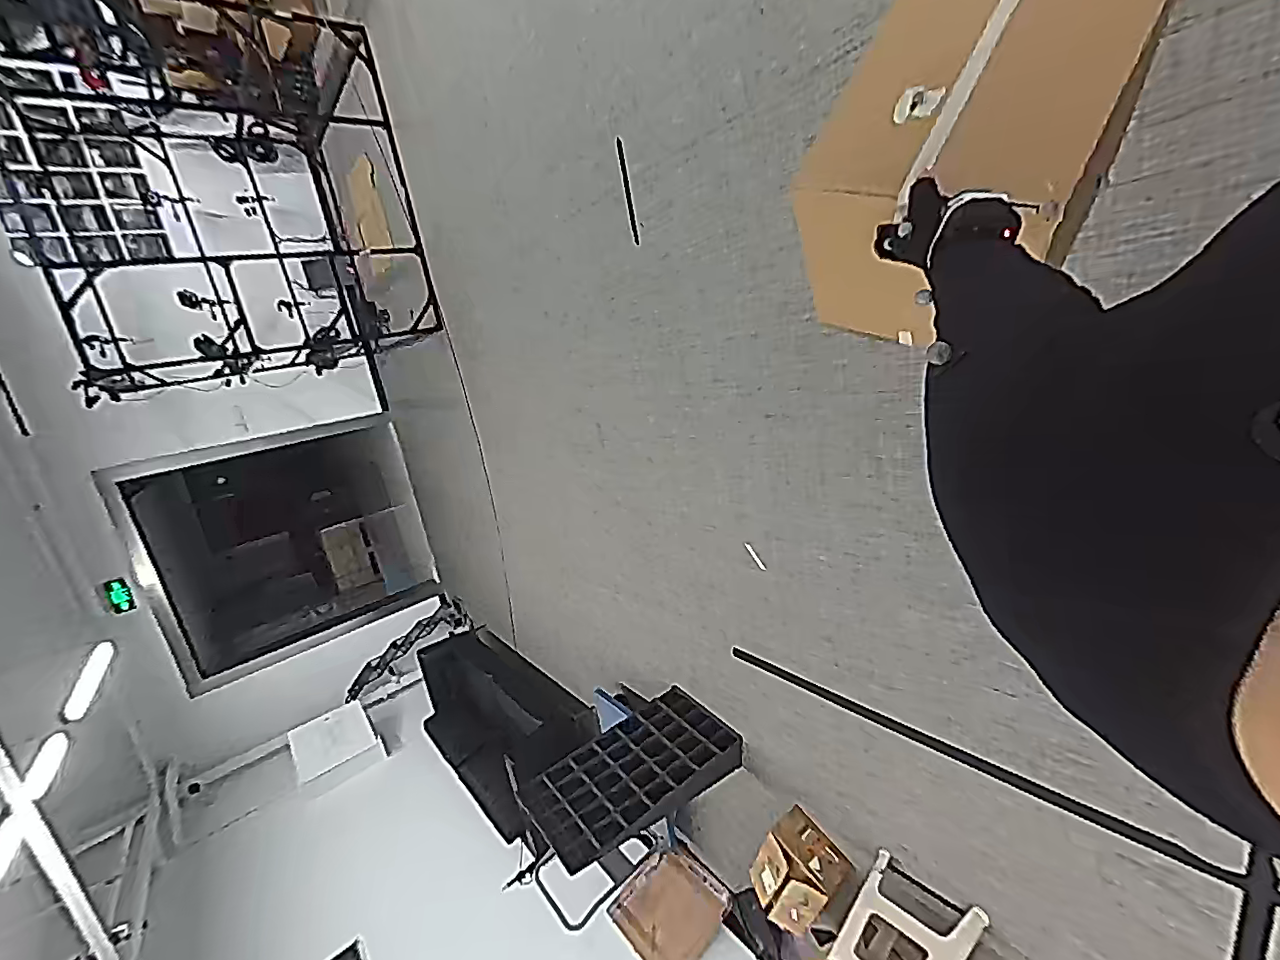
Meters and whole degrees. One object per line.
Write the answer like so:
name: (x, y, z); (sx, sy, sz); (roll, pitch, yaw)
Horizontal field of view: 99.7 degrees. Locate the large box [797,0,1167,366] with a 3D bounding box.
large box: (0.487, -0.449, 0.811); (0.320, 0.408, 0.320); (26, 172, 34)
